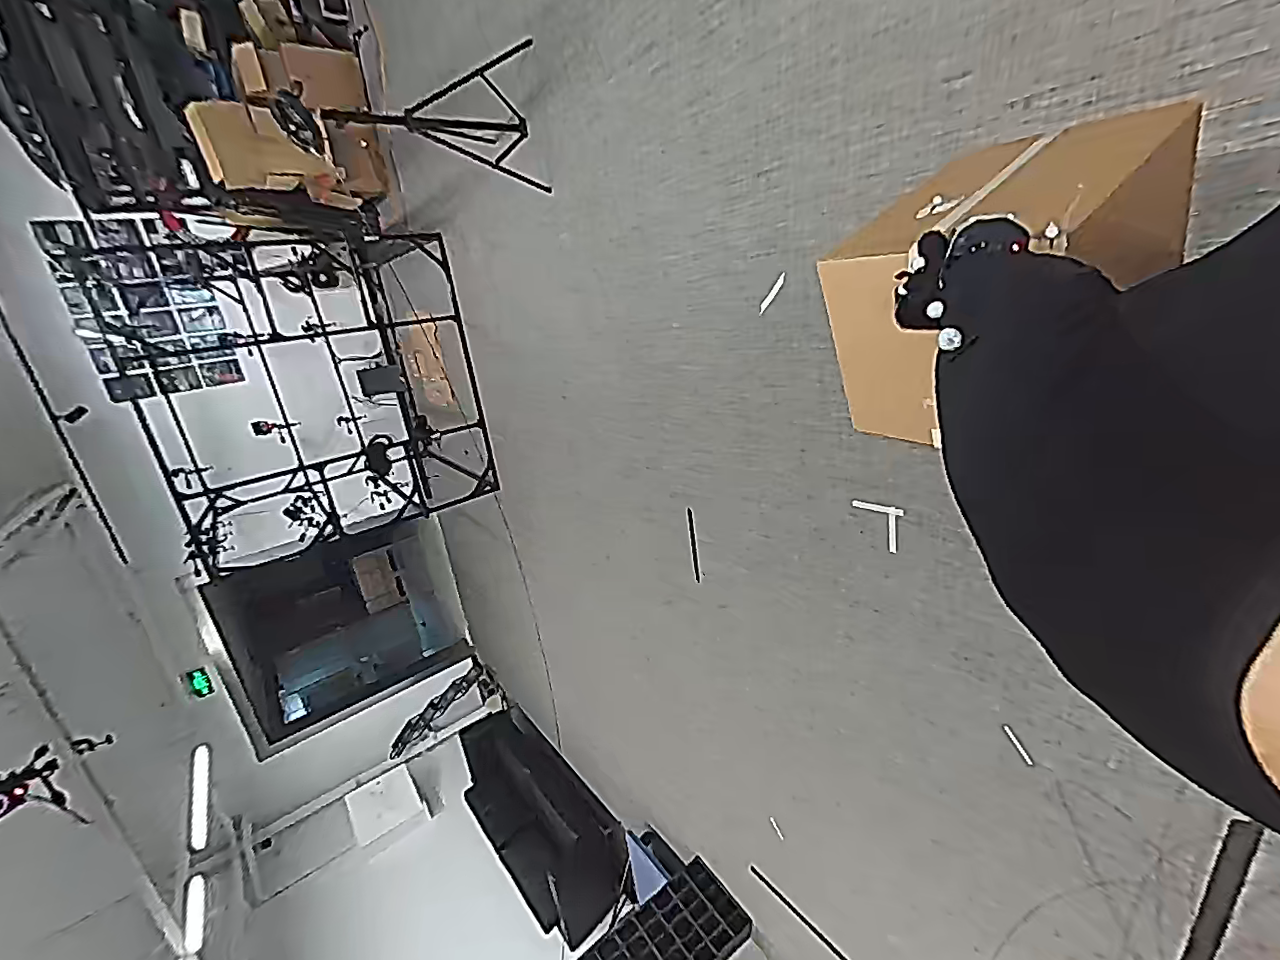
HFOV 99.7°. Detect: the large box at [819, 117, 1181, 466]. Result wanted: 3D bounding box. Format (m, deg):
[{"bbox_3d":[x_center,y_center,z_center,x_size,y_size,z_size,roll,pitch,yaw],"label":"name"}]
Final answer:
[{"bbox_3d":[0.550,-0.283,0.838,0.320,0.408,0.320,21,145,52],"label":"large box"}]
